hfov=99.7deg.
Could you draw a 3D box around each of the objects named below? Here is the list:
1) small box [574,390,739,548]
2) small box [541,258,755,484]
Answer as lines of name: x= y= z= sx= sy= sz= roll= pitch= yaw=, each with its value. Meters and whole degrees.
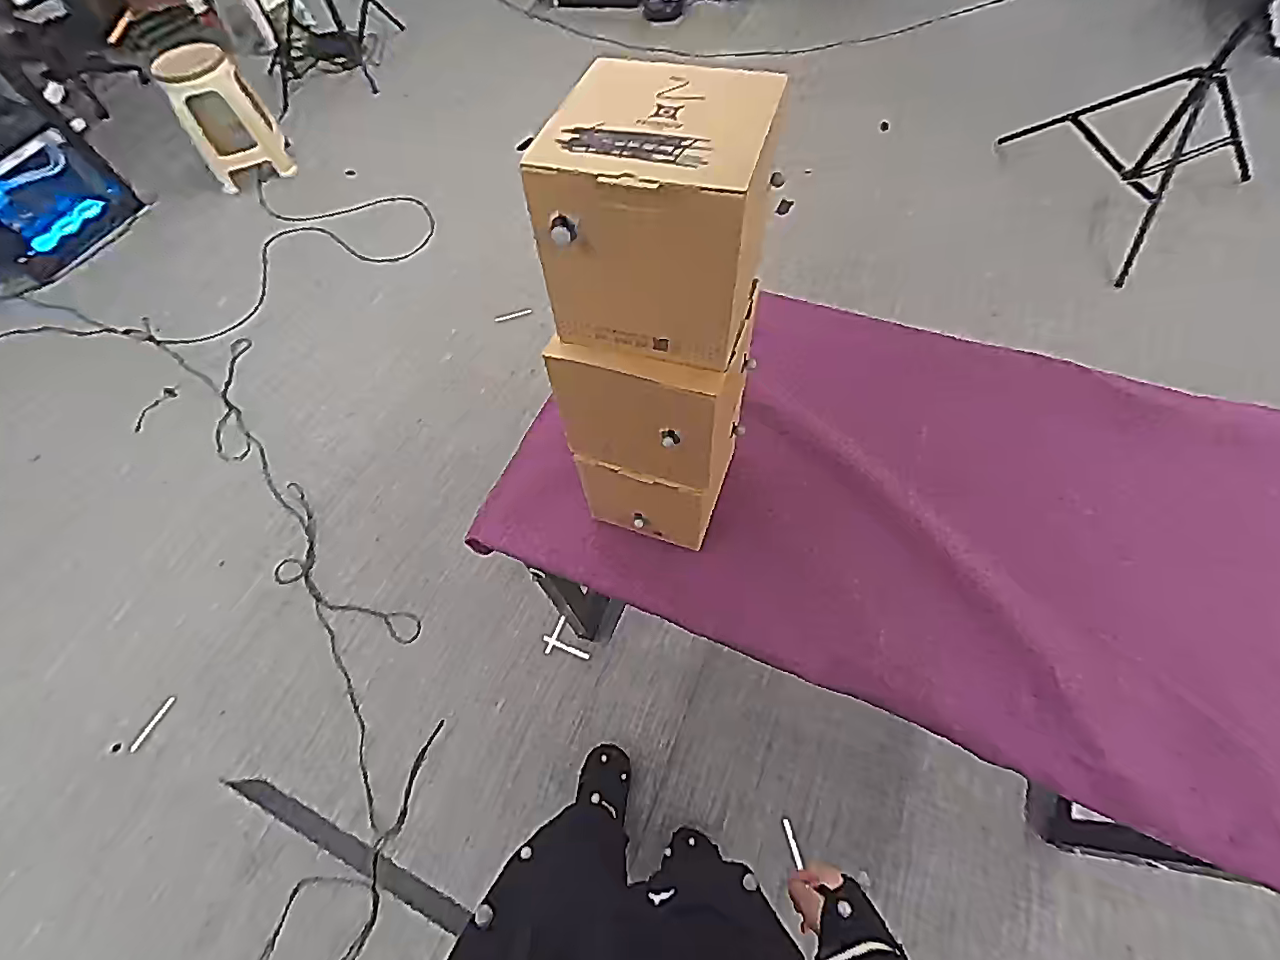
small box: x=0.027 y=-0.033 z=0.748 sx=0.168 sy=0.176 sz=0.179 roll=16 pitch=63 yaw=13
small box: x=0.016 y=-0.116 z=0.609 sx=0.179 sy=0.176 sz=0.168 roll=15 pitch=60 yaw=13
